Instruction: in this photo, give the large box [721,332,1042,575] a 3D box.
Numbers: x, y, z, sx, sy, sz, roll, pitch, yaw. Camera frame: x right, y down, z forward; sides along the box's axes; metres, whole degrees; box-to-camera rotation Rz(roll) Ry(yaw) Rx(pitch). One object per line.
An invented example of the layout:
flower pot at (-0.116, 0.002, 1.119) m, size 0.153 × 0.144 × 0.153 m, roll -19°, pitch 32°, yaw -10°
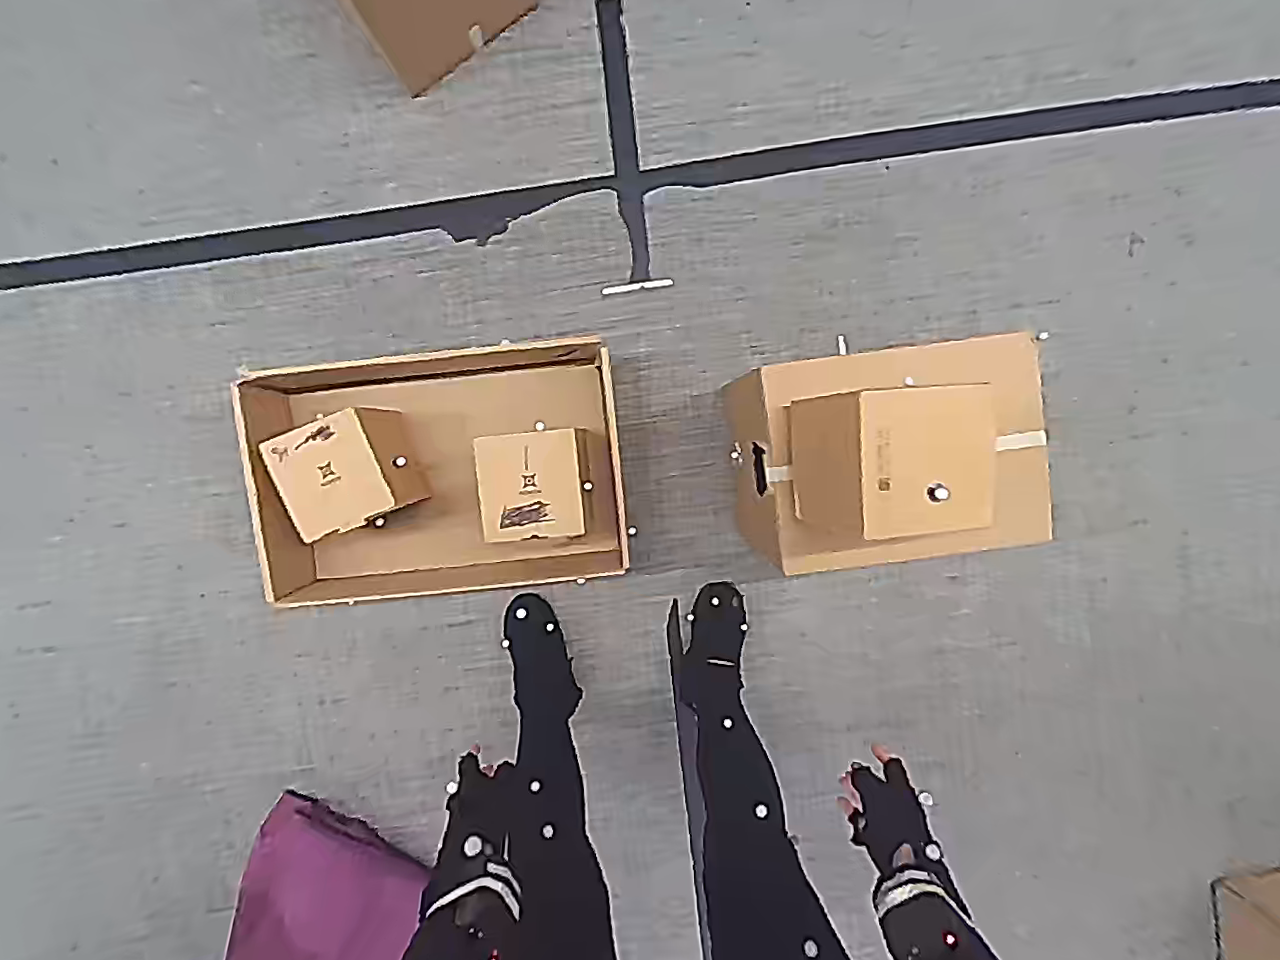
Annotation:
large box at (0.381, -0.046, 0.944) m, size 0.408 × 0.320 × 0.320 m, roll -8°, pitch 95°, yaw -1°
